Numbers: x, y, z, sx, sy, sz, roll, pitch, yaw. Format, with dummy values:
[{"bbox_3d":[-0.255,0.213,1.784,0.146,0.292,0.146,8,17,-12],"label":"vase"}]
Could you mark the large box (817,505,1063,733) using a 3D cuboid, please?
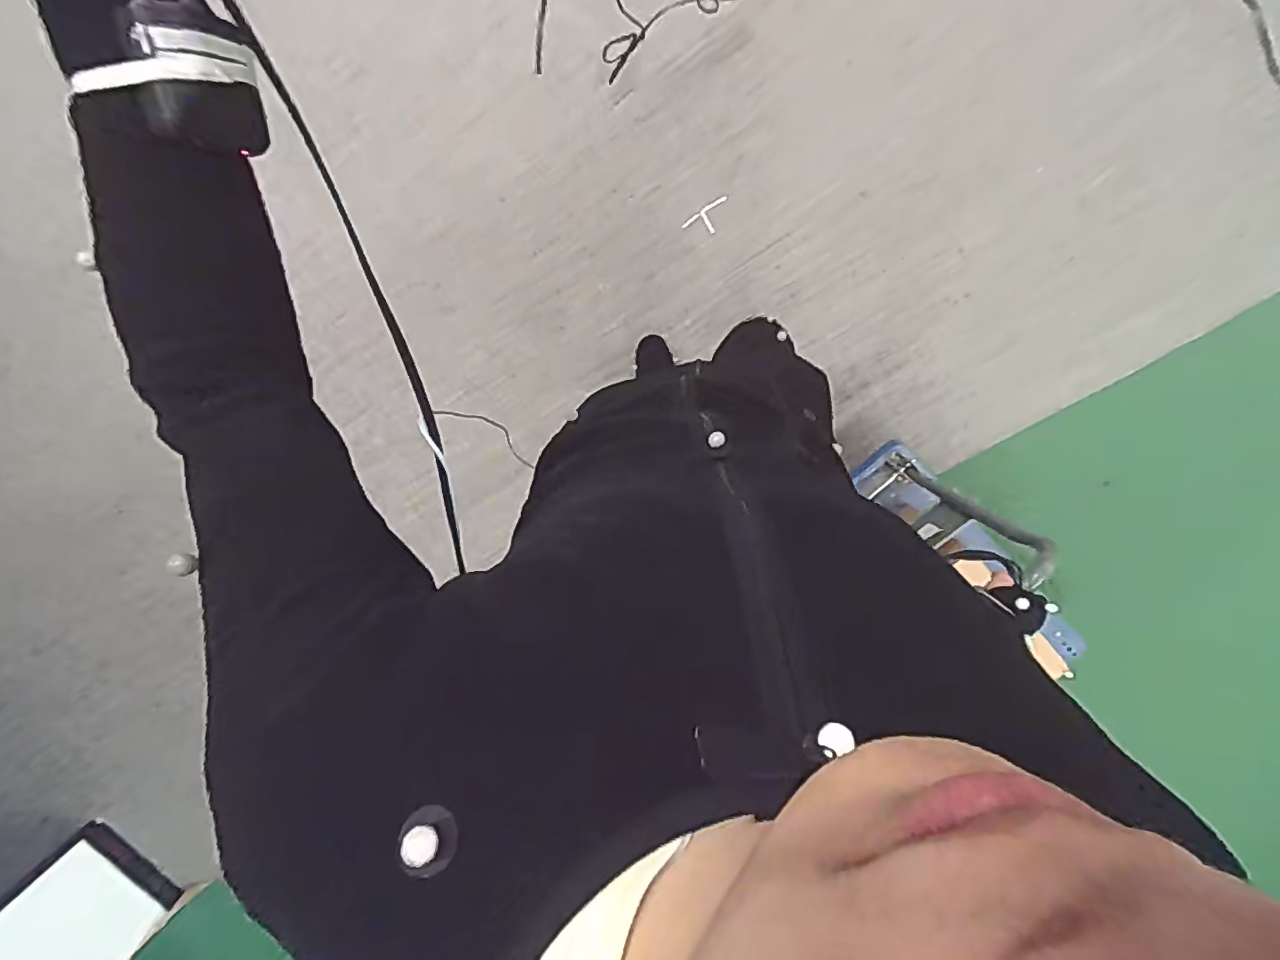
[{"bbox_3d":[0.733,0.338,1.383,0.320,0.320,0.408,-42,101,13],"label":"large box"}]
